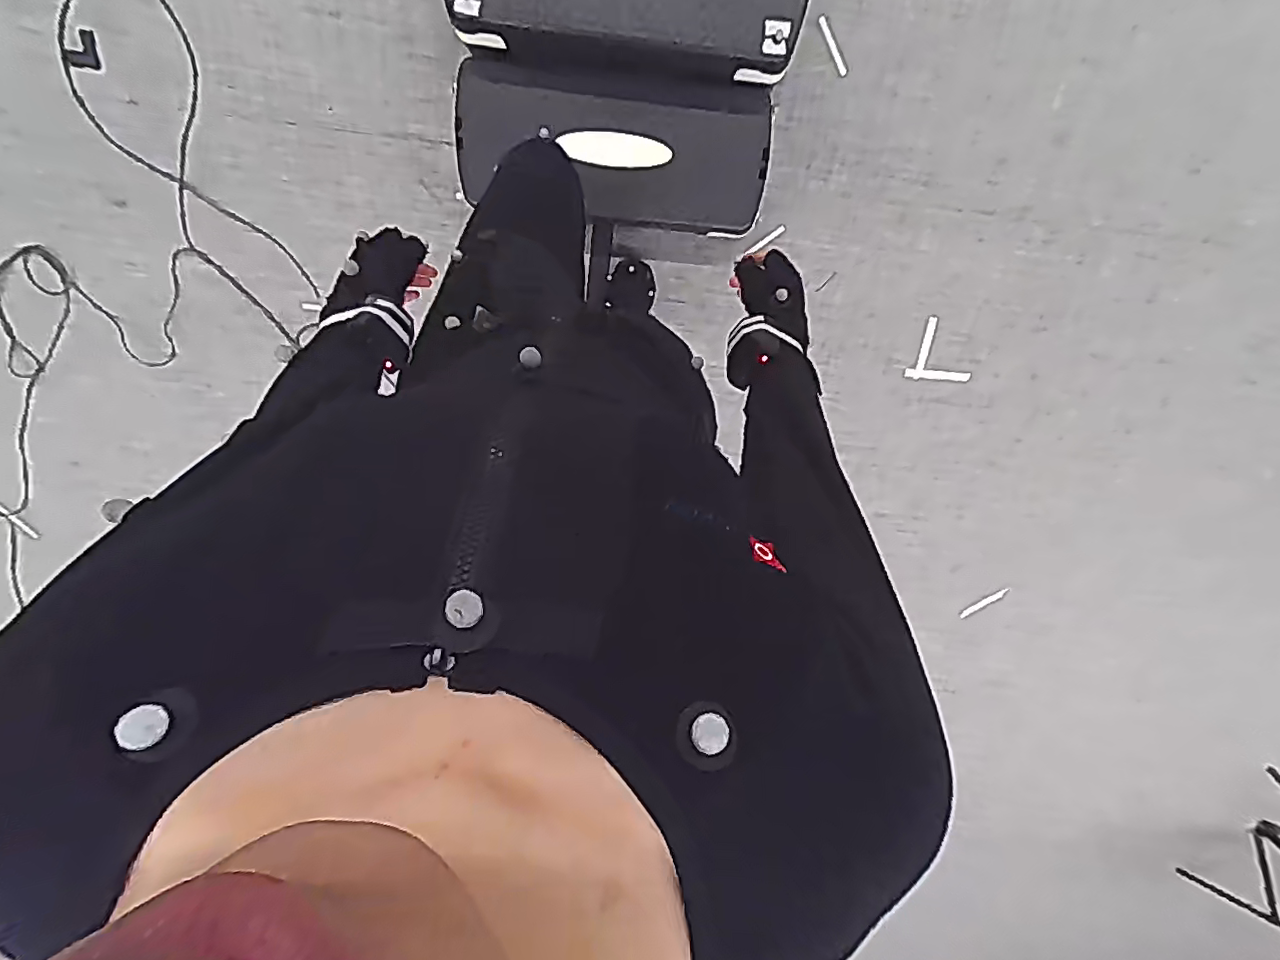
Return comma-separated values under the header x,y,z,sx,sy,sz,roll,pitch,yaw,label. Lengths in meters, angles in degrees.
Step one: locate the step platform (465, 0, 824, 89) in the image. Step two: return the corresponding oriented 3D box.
x,y,z,sx,sy,sz,roll,pitch,yaw,label
0.010,-0.969,1.025,0.684,0.204,0.286,4,113,-4,step platform
